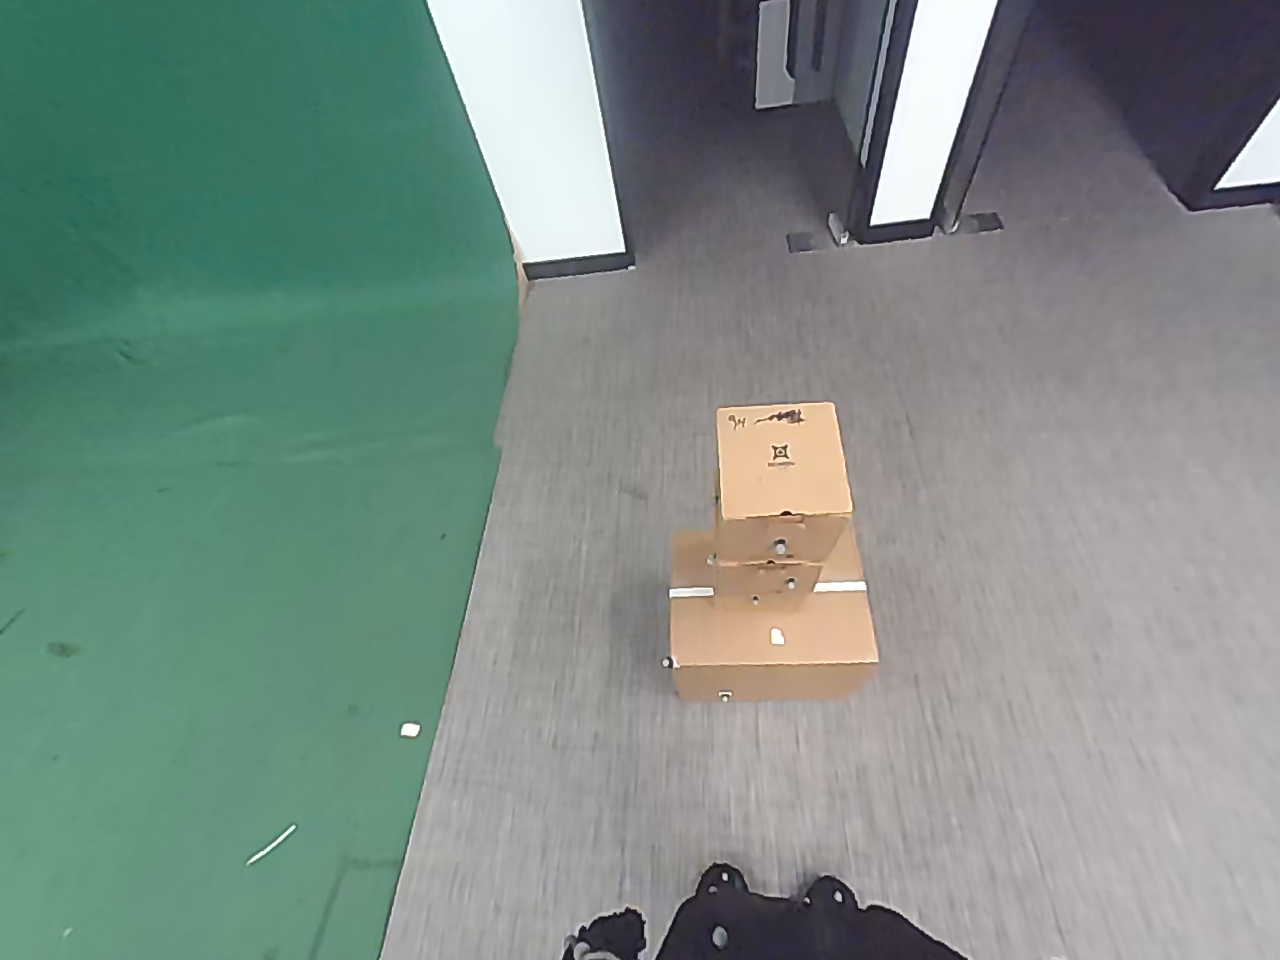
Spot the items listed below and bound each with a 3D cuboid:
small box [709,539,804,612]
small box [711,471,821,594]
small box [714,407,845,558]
[{"bbox_3d":[0.234,0.160,1.089,0.179,0.176,0.168,3,61,11],"label":"small box"},{"bbox_3d":[0.210,0.096,0.945,0.168,0.176,0.179,-2,61,6],"label":"small box"},{"bbox_3d":[0.196,0.012,0.805,0.168,0.176,0.179,-2,63,7],"label":"small box"}]
